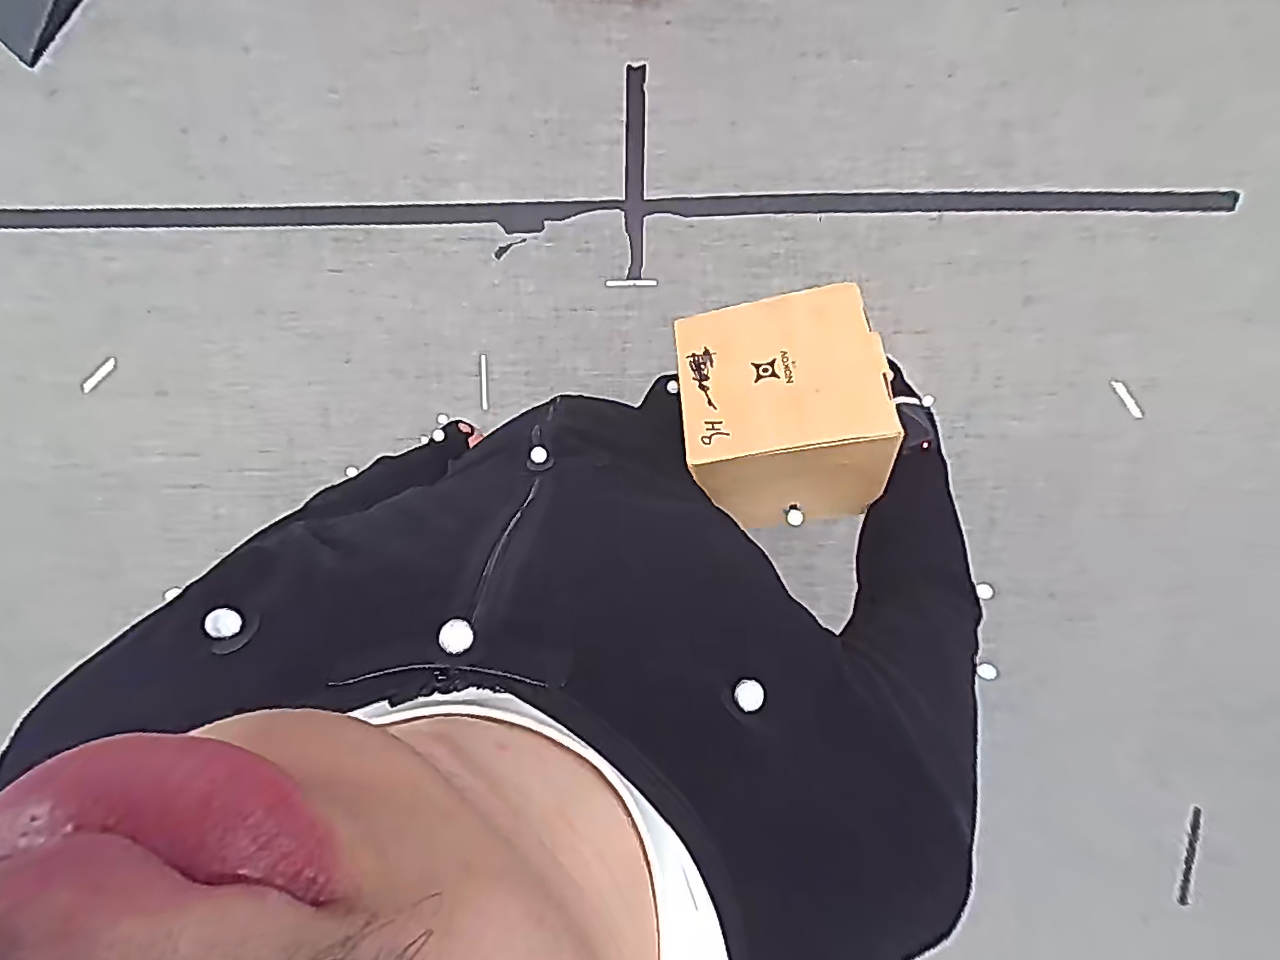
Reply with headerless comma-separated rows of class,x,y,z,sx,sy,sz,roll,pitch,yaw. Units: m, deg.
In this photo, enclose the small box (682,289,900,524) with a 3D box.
small box,0.146,-0.065,0.565,0.179,0.176,0.168,-8,62,11
